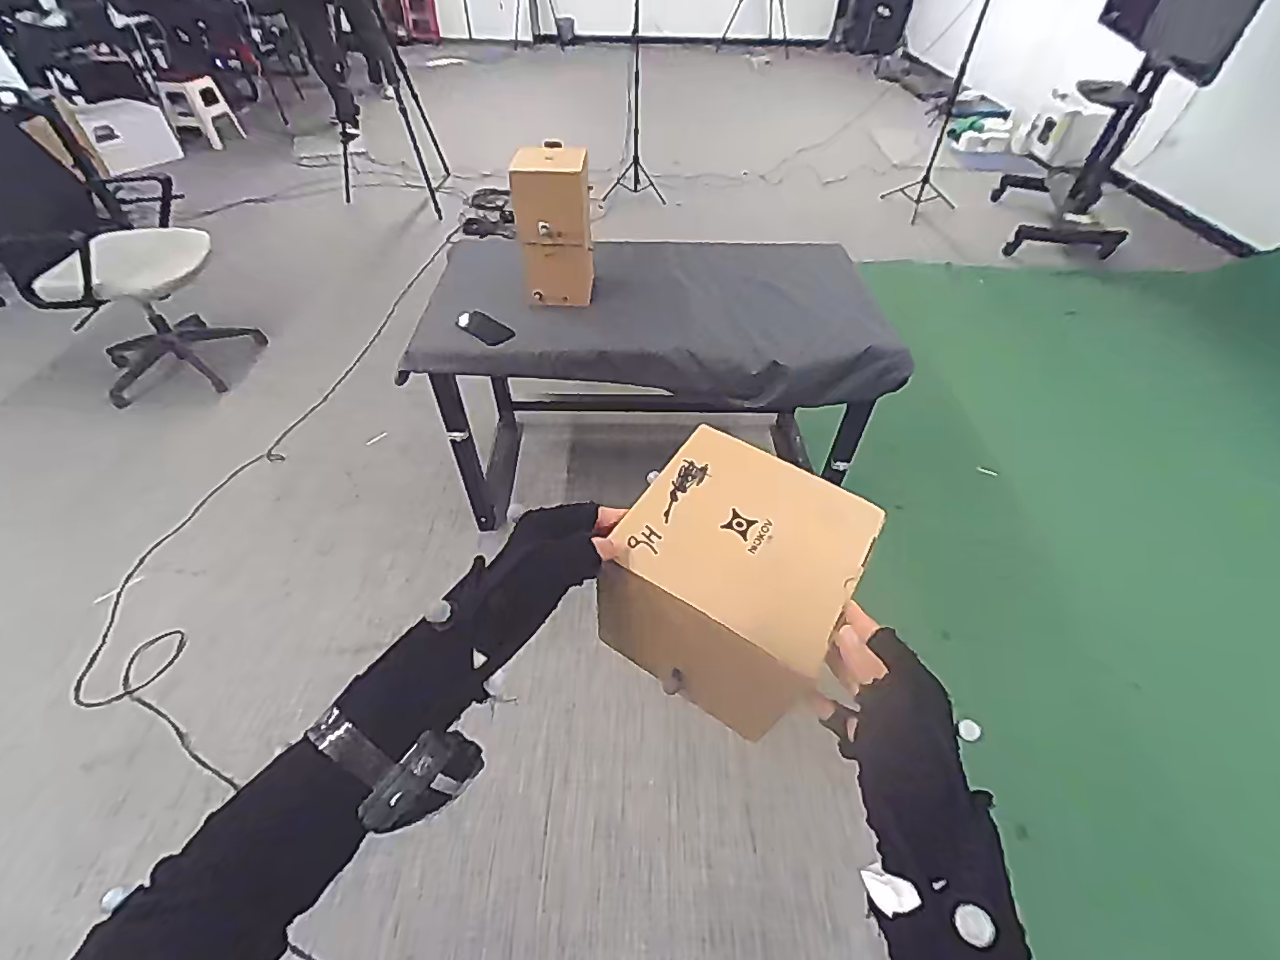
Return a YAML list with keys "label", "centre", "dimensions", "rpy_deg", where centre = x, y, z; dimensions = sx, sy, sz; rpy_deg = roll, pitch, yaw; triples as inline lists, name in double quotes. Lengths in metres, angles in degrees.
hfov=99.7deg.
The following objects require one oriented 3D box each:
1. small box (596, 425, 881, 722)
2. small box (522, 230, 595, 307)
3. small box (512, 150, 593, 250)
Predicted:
- label: "small box"
  centre: [0.076, 0.089, 0.484]
  dimensions: [0.179, 0.176, 0.168]
  rpy_deg: [29, 53, 17]
- label: "small box"
  centre: [-0.208, -0.575, 1.438]
  dimensions: [0.168, 0.176, 0.179]
  rpy_deg: [2, 46, 0]
- label: "small box"
  centre: [-0.204, -0.682, 1.317]
  dimensions: [0.168, 0.176, 0.179]
  rpy_deg: [0, 48, 0]
